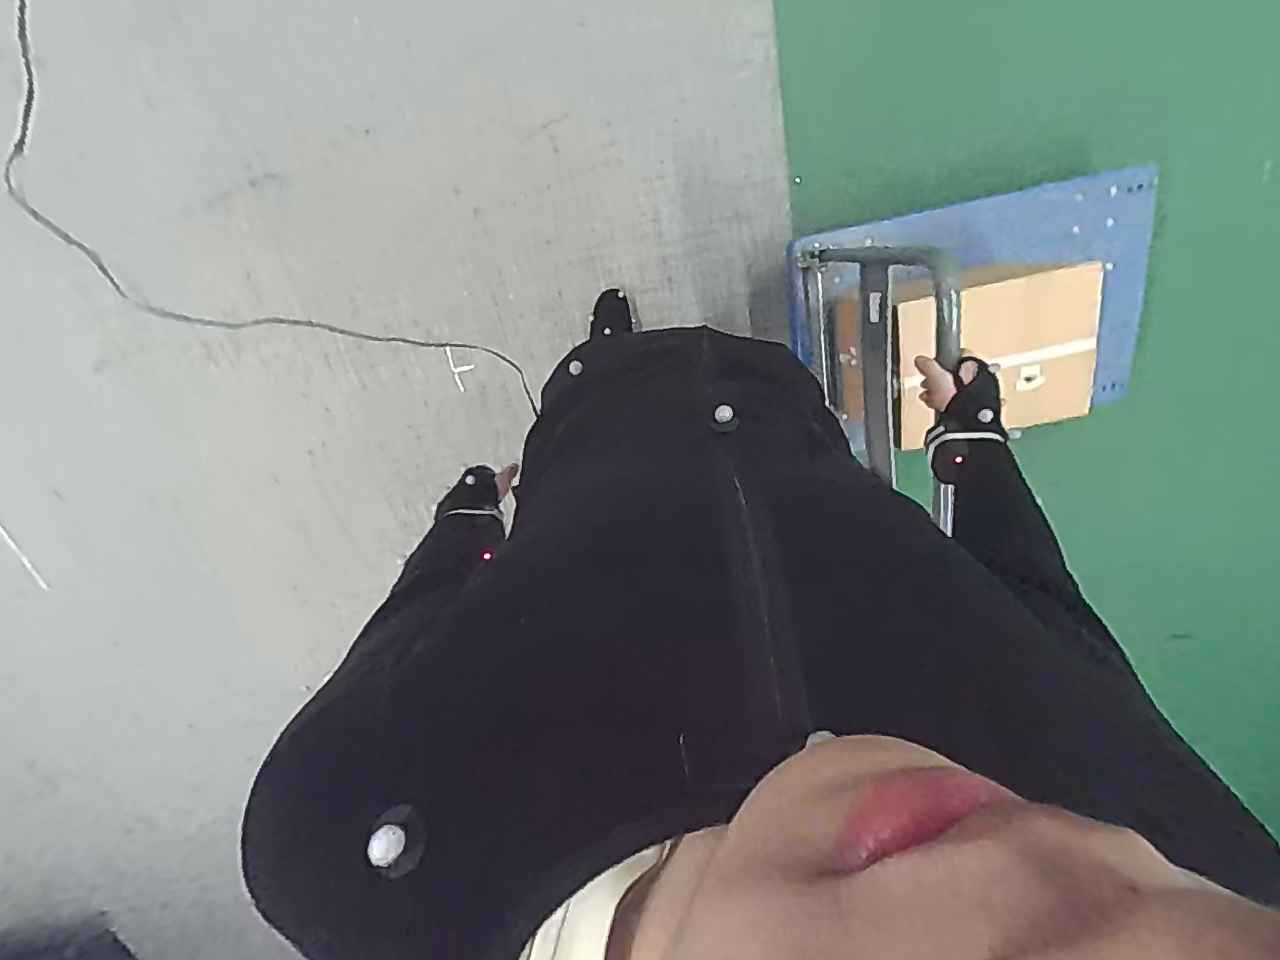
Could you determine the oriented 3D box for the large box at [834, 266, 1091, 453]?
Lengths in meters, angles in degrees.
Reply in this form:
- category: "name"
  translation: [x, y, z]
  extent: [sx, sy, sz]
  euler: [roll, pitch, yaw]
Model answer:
- category: "large box"
  translation: [0.713, -0.287, 1.252]
  extent: [0.408, 0.320, 0.320]
  euler: [-12, 111, 1]
